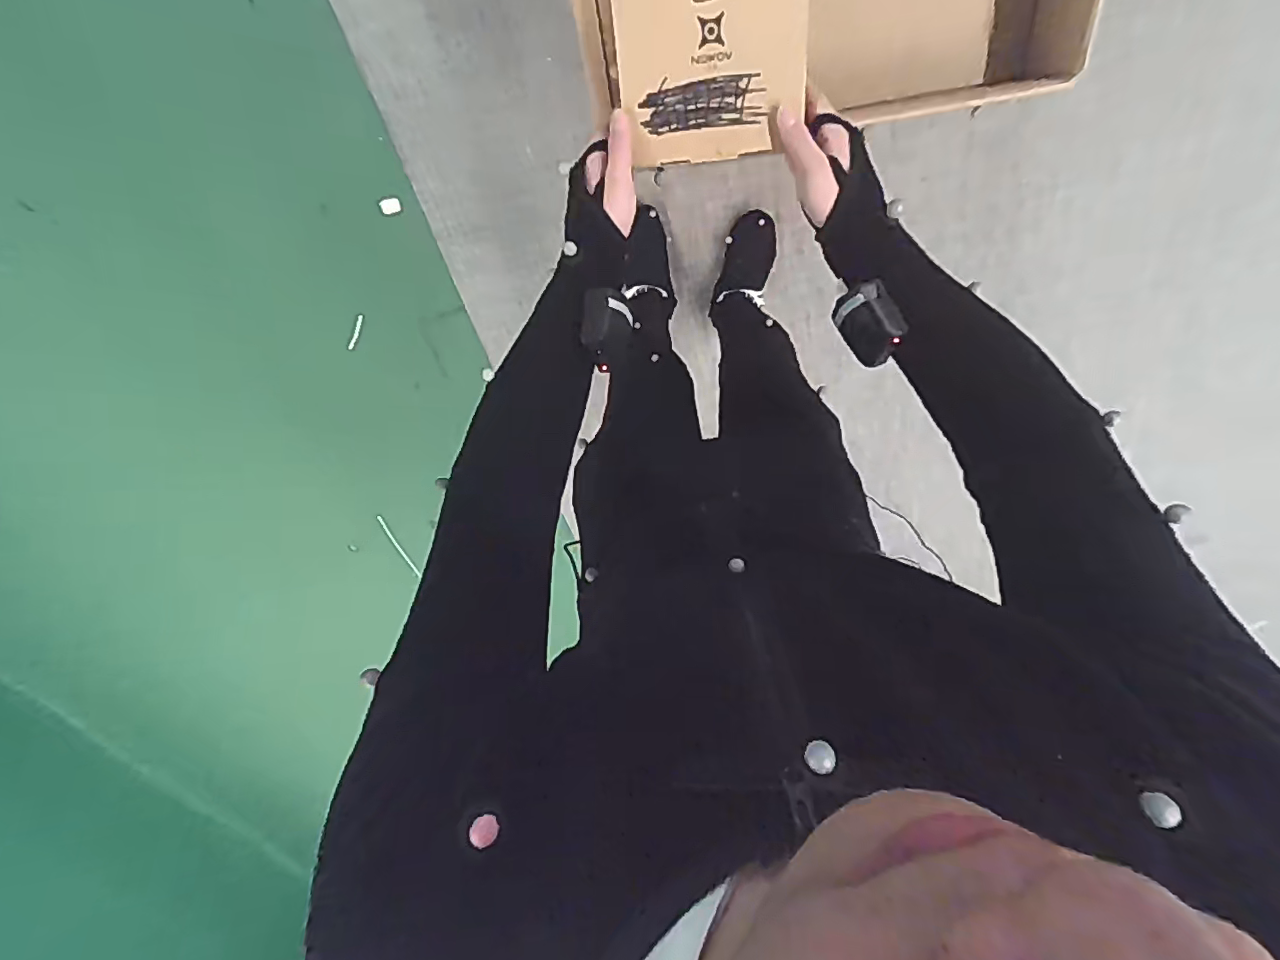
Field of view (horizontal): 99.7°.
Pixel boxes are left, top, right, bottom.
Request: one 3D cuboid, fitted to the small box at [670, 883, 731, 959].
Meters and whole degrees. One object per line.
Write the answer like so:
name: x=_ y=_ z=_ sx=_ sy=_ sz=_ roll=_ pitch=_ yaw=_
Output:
small box: x=0.200 y=1.463 z=1.789 sx=0.168 sy=0.176 sz=0.179 roll=-12 pitch=124 yaw=11
